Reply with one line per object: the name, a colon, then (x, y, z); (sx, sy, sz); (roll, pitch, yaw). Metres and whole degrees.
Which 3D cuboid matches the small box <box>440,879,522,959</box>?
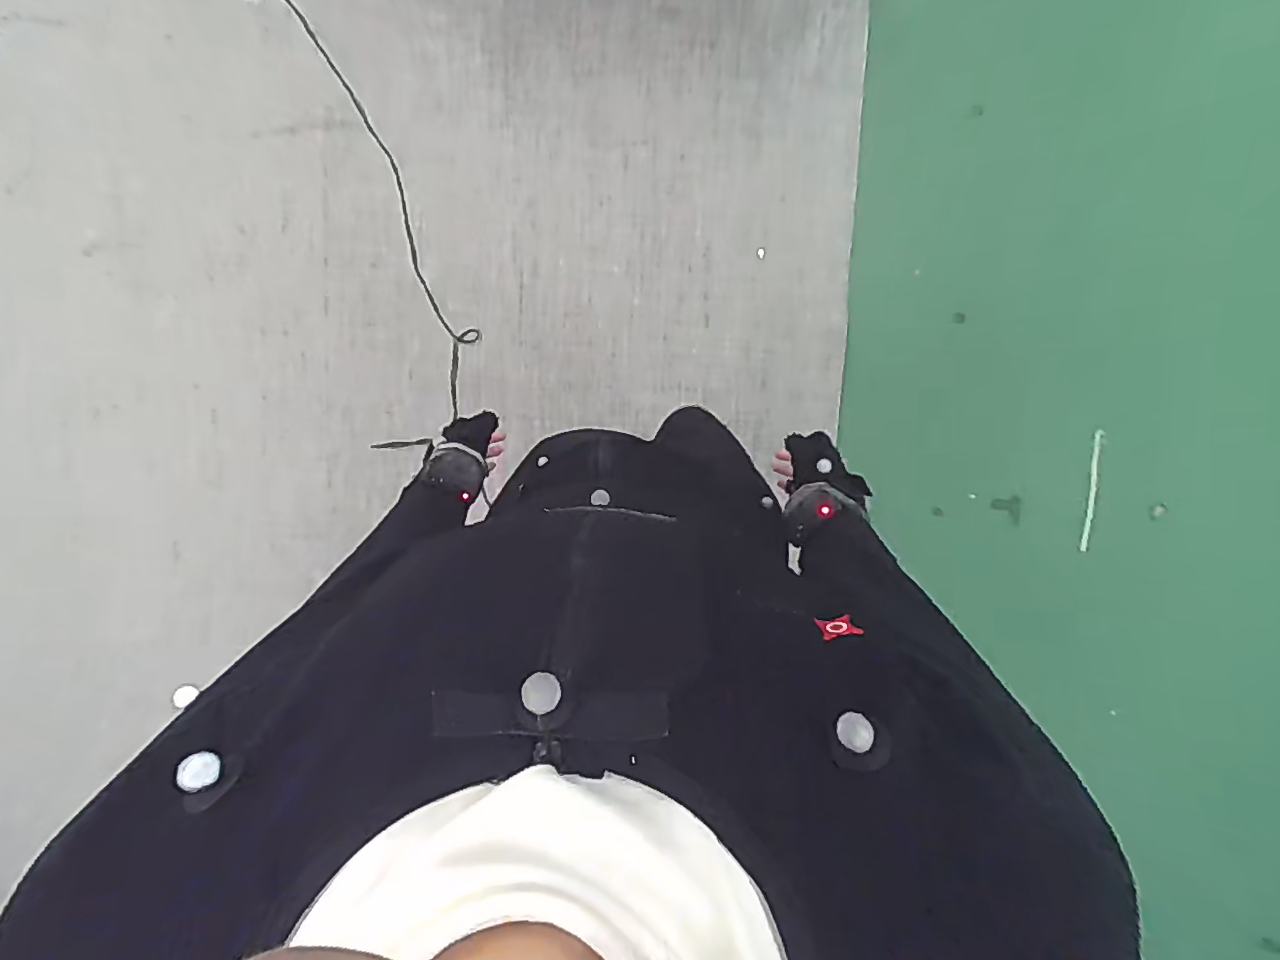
small box: (-0.435, 1.244, 1.490); (0.179, 0.176, 0.168); (5, 97, -1)
